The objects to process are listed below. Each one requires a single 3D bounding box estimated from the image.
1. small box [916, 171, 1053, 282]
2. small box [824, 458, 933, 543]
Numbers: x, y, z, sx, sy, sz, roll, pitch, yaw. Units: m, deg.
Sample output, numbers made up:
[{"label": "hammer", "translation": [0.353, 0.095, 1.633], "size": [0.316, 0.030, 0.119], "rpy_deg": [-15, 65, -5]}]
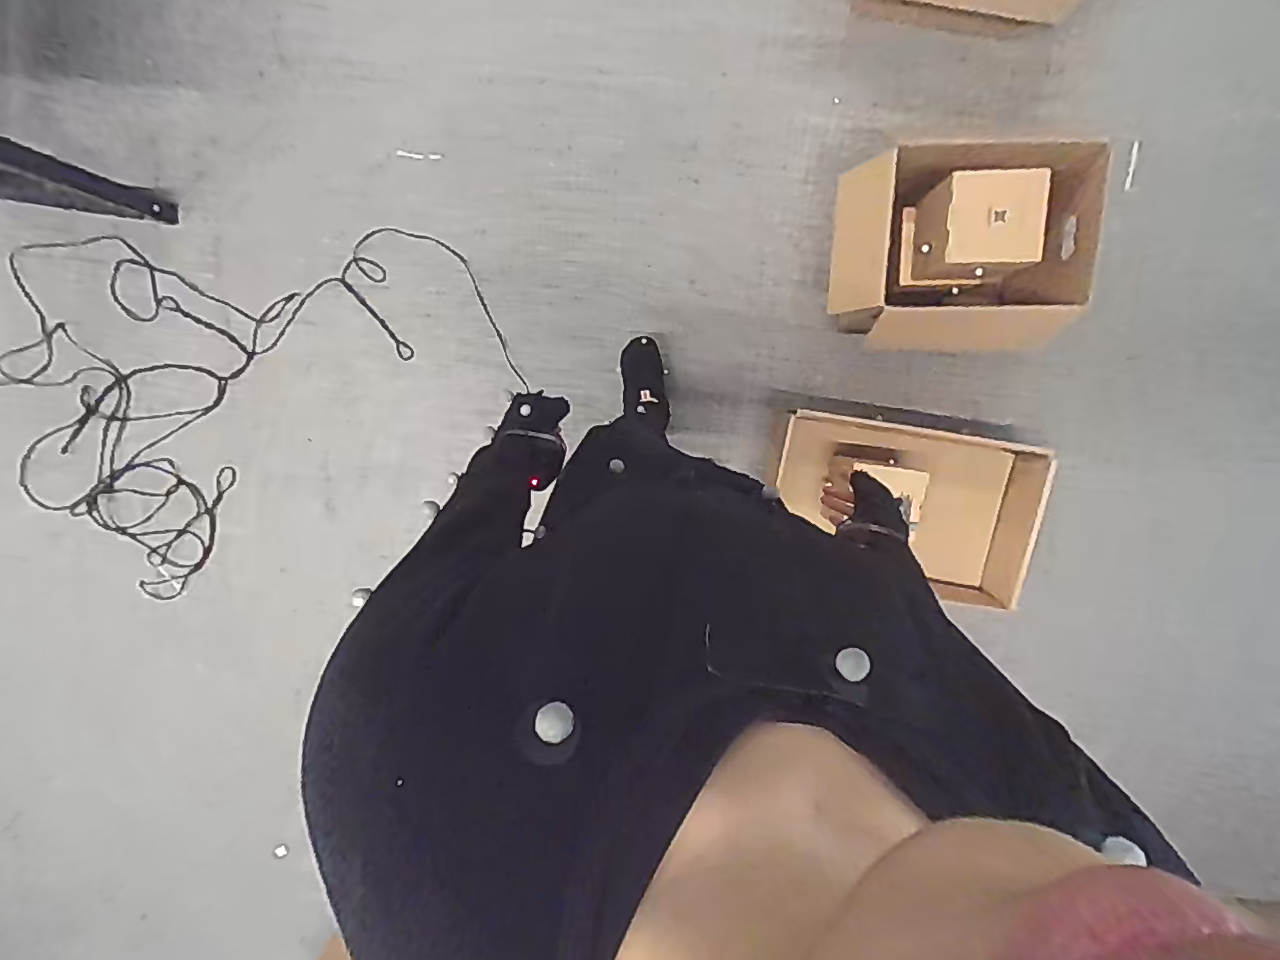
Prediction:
[{"label": "small box", "translation": [0.681, -0.502, 1.091], "size": [0.179, 0.176, 0.168], "rpy_deg": [1, 99, 5]}, {"label": "small box", "translation": [0.567, 0.043, 1.308], "size": [0.179, 0.176, 0.168], "rpy_deg": [8, 99, 2]}]
